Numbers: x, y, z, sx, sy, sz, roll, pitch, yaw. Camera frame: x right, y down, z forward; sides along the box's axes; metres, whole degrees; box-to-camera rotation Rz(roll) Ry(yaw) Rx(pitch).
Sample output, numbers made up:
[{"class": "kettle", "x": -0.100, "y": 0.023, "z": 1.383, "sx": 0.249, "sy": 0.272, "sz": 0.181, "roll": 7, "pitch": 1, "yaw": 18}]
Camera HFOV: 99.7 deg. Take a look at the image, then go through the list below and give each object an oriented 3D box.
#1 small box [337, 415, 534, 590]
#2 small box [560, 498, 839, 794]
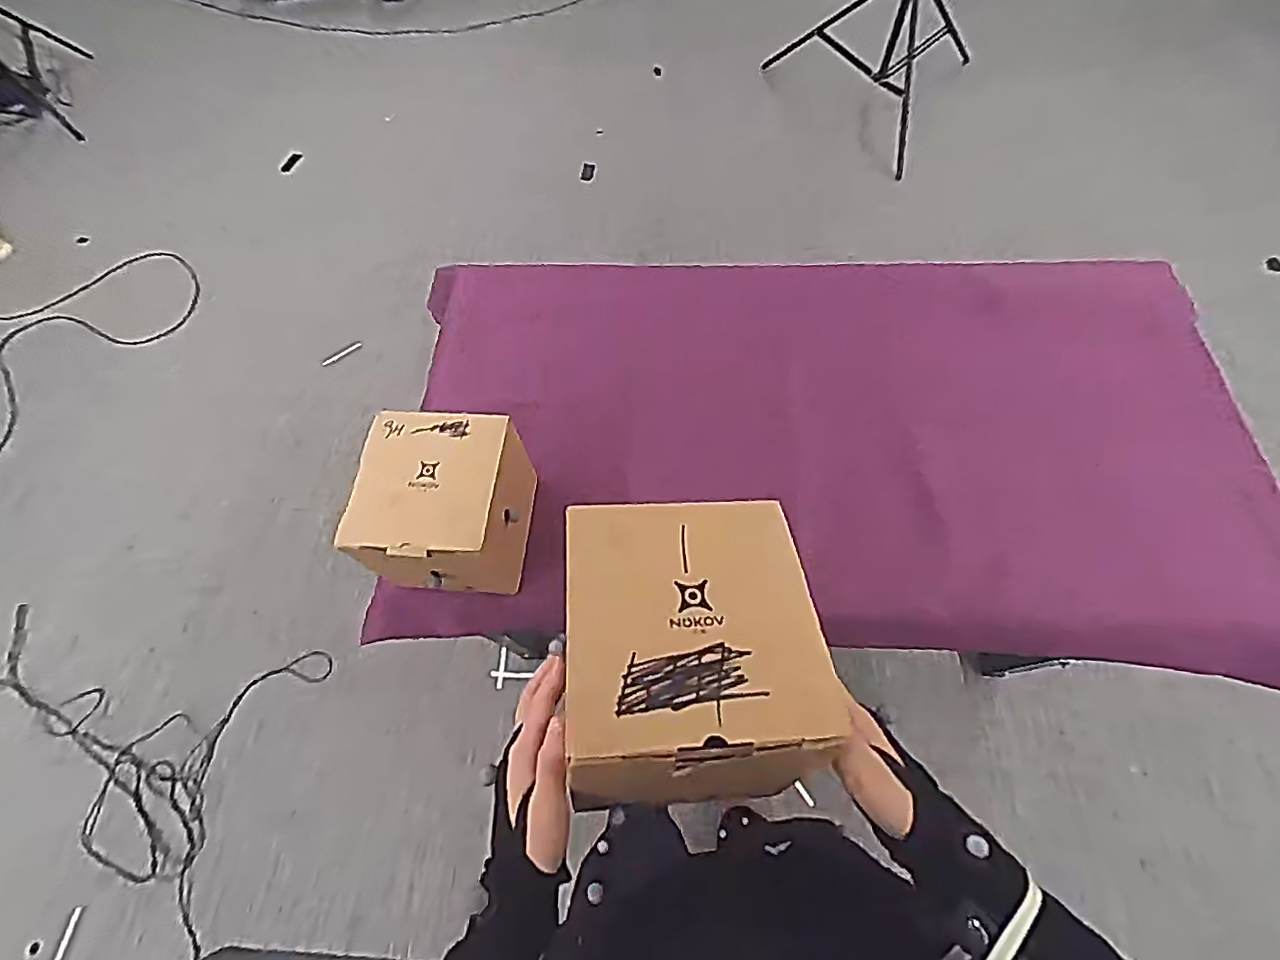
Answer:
[{"class": "small box", "x": -0.240, "y": 0.036, "z": 0.688, "sx": 0.168, "sy": 0.176, "sz": 0.179, "roll": 3, "pitch": 65, "yaw": 3}, {"class": "small box", "x": 0.026, "y": 0.133, "z": 0.422, "sx": 0.168, "sy": 0.176, "sz": 0.179, "roll": -1, "pitch": 50, "yaw": -6}]
